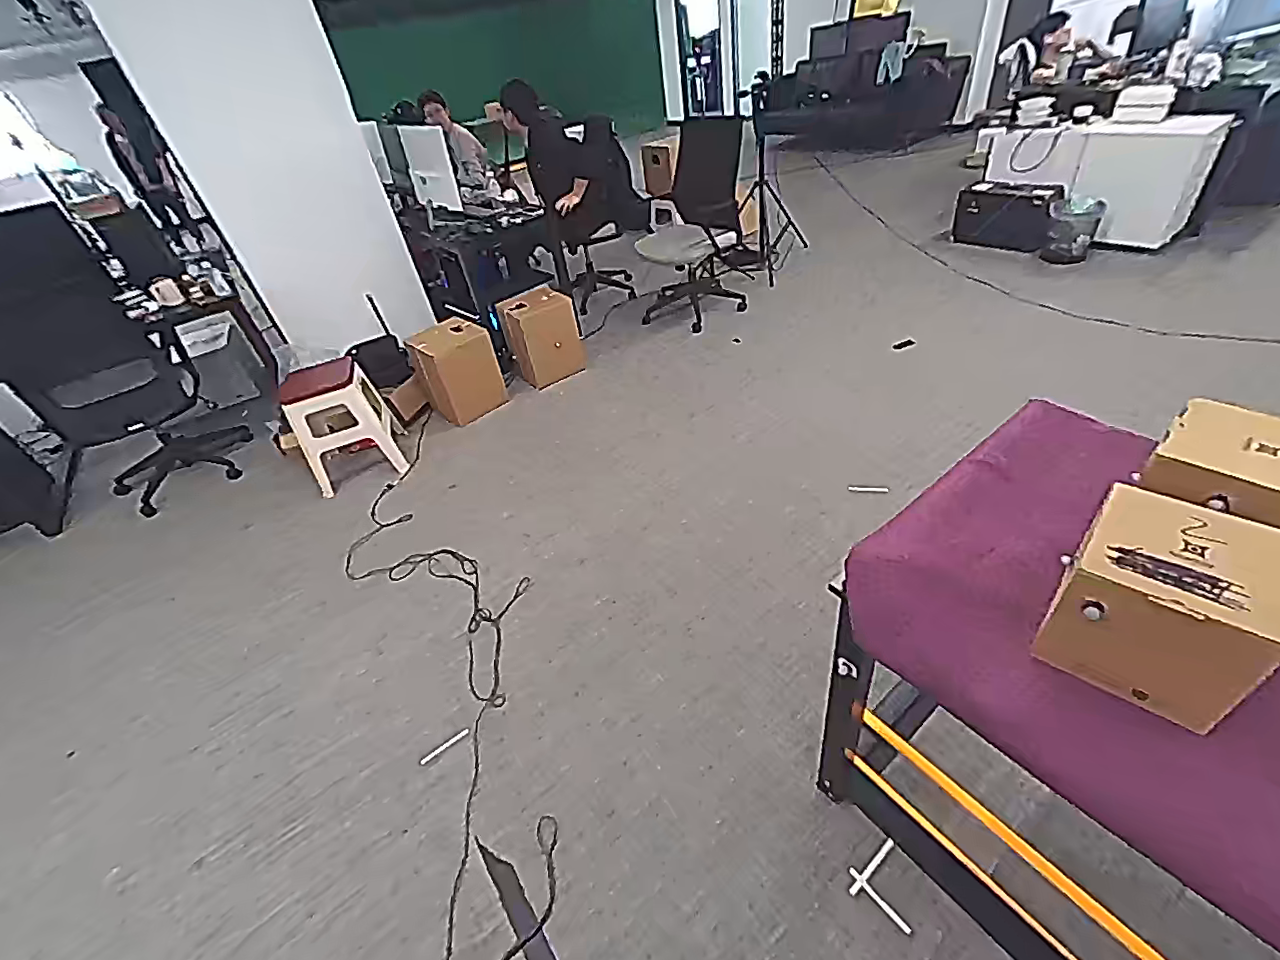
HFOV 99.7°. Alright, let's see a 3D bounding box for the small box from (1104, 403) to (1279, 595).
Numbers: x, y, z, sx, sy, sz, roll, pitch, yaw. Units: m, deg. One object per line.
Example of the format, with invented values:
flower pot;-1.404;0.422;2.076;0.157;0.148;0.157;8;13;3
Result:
small box;0.787;0.028;0.728;0.168;0.176;0.179;-34;45;-26
